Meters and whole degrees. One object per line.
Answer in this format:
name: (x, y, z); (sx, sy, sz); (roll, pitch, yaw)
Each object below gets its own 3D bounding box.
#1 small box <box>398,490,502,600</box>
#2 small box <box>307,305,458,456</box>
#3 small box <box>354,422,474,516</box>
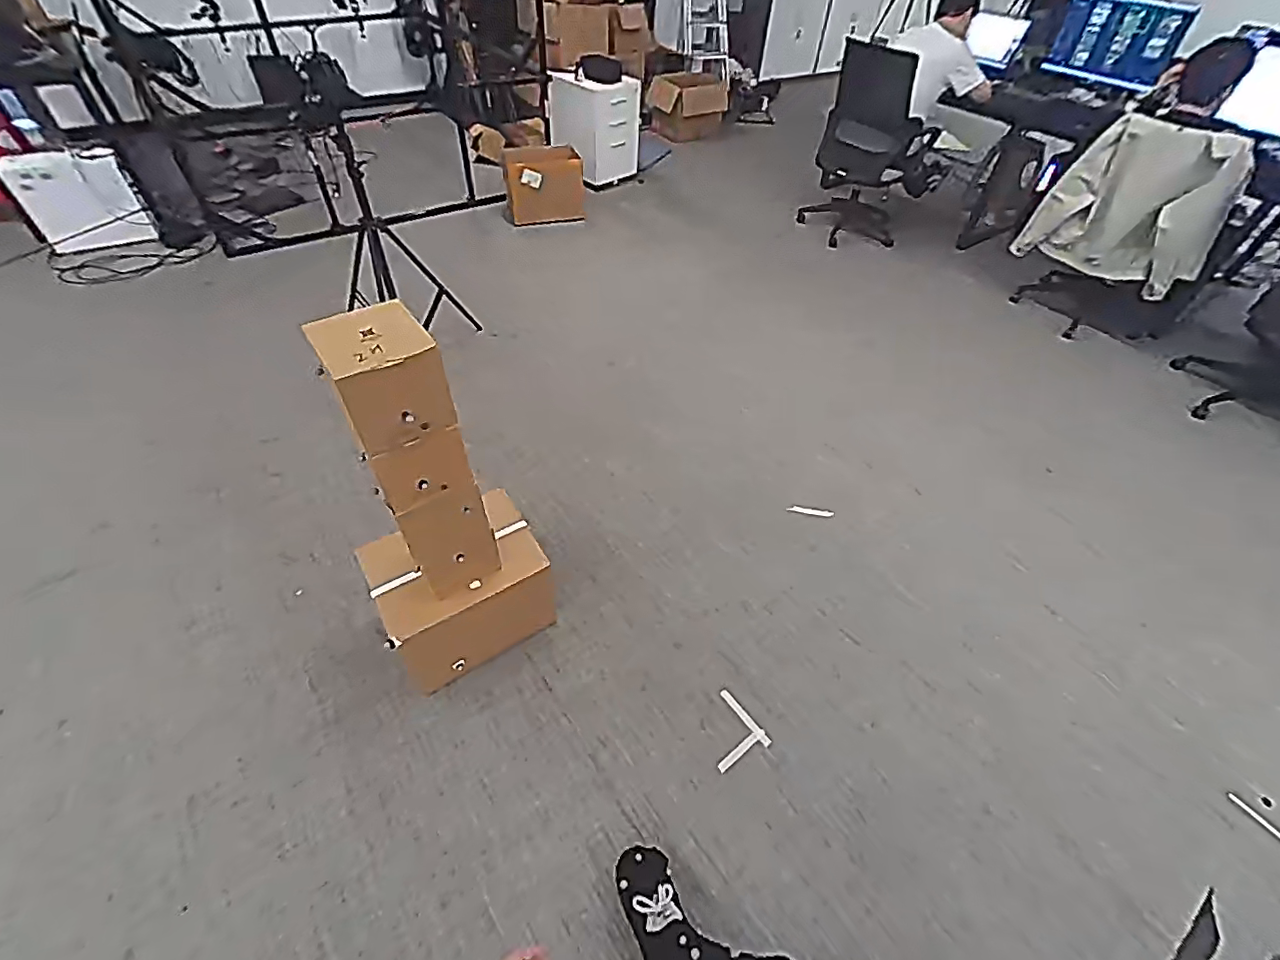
small box: (-0.453, 0.158, 1.312); (0.179, 0.176, 0.168); (-27, 56, -26)
small box: (-0.444, -0.174, 0.949); (0.168, 0.176, 0.179); (-29, 57, -26)
small box: (-0.450, -0.063, 1.070); (0.168, 0.176, 0.179); (-27, 56, -25)
